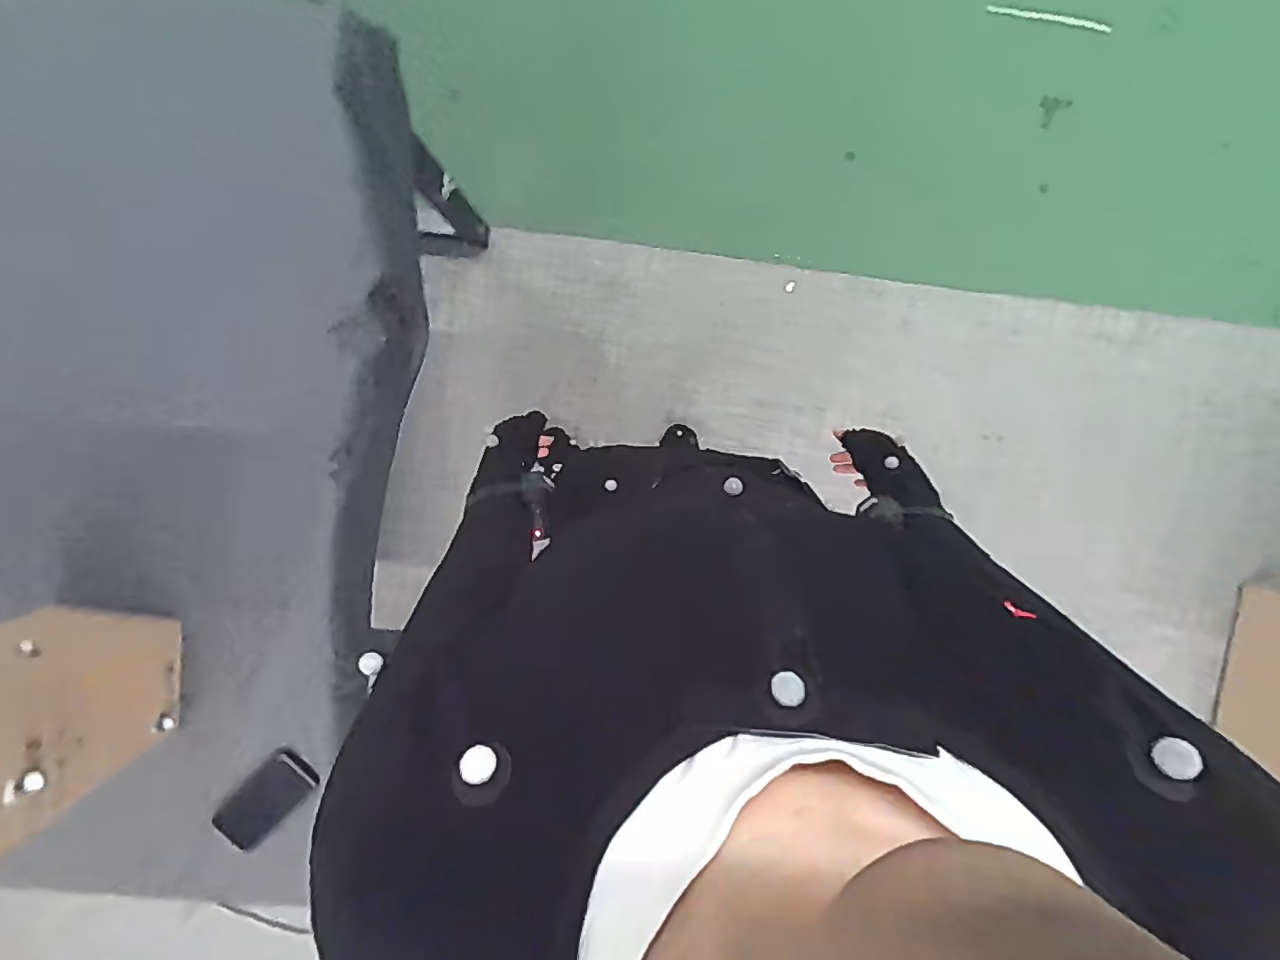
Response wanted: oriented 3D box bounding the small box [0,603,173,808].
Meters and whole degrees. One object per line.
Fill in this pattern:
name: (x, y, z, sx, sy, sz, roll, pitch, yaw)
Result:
small box: (-0.725, 0.262, 0.664, 0.179, 0.176, 0.168, 7, 97, -1)
